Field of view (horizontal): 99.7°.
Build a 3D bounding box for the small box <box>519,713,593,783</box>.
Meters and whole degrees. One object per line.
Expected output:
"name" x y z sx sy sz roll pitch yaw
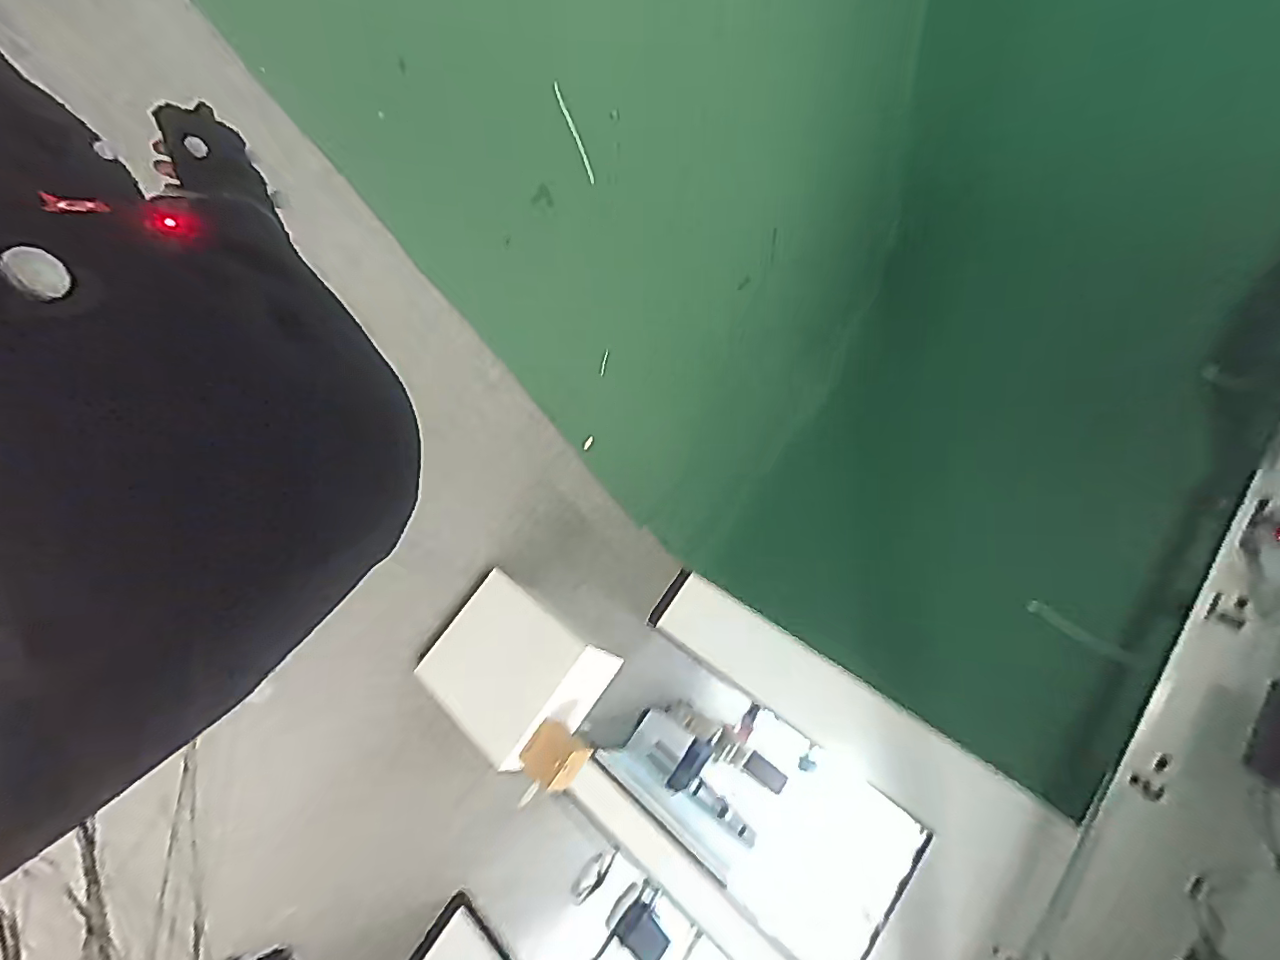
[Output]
"small box" -0.310 0.983 1.995 0.168 0.176 0.179 -54 151 -10
